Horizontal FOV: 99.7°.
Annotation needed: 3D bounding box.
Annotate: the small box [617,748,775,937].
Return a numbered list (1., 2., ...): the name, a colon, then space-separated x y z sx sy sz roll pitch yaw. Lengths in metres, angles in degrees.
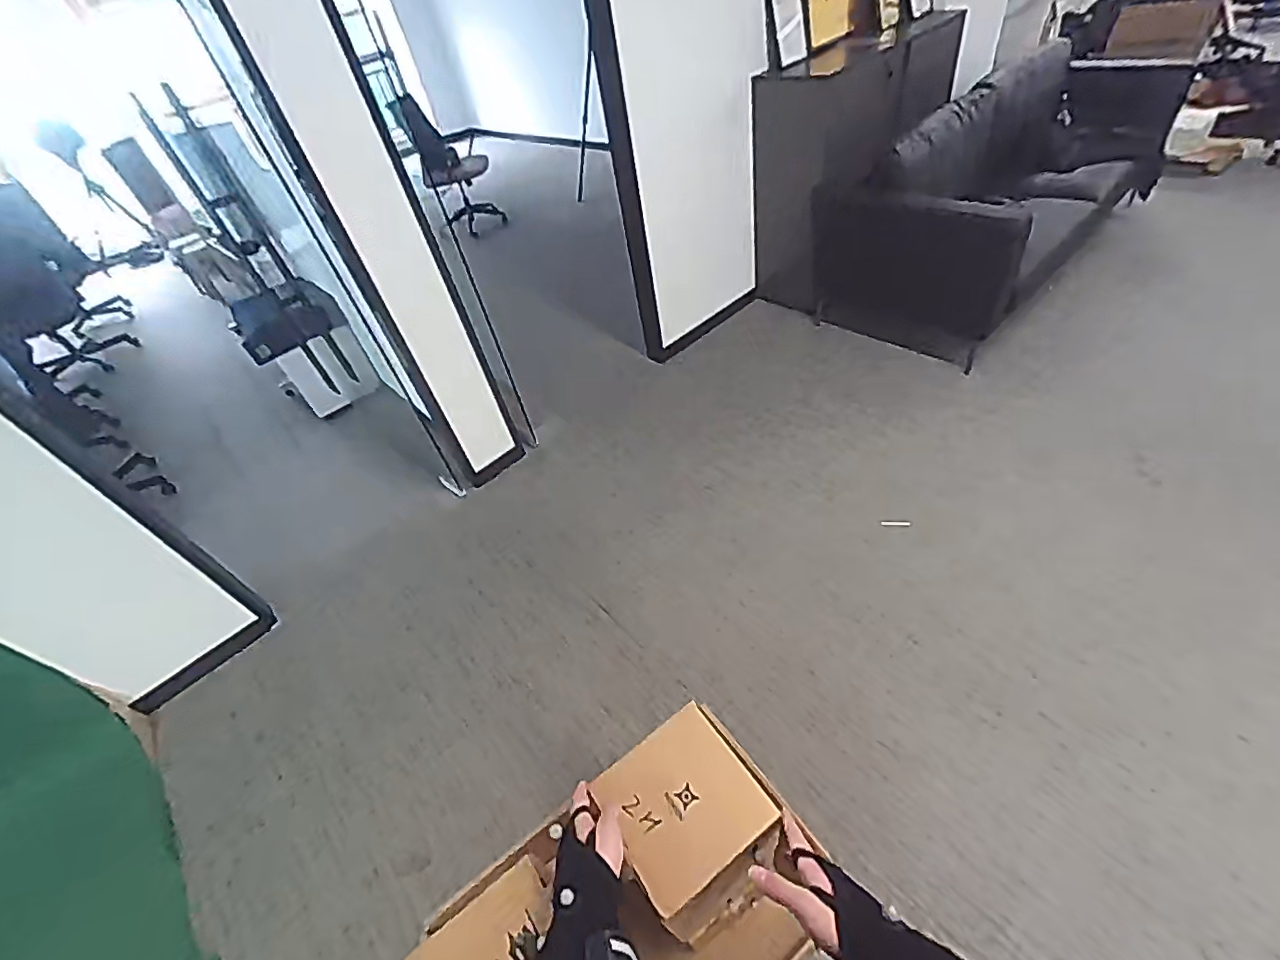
1. small box: 0.088 0.562 0.840 0.179 0.176 0.168 -30 47 -14

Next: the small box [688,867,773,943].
1. small box: 0.118 0.672 0.956 0.168 0.176 0.179 -29 47 -14

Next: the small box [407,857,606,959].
1. small box: -0.138 0.594 0.634 0.179 0.176 0.168 -33 48 -18
